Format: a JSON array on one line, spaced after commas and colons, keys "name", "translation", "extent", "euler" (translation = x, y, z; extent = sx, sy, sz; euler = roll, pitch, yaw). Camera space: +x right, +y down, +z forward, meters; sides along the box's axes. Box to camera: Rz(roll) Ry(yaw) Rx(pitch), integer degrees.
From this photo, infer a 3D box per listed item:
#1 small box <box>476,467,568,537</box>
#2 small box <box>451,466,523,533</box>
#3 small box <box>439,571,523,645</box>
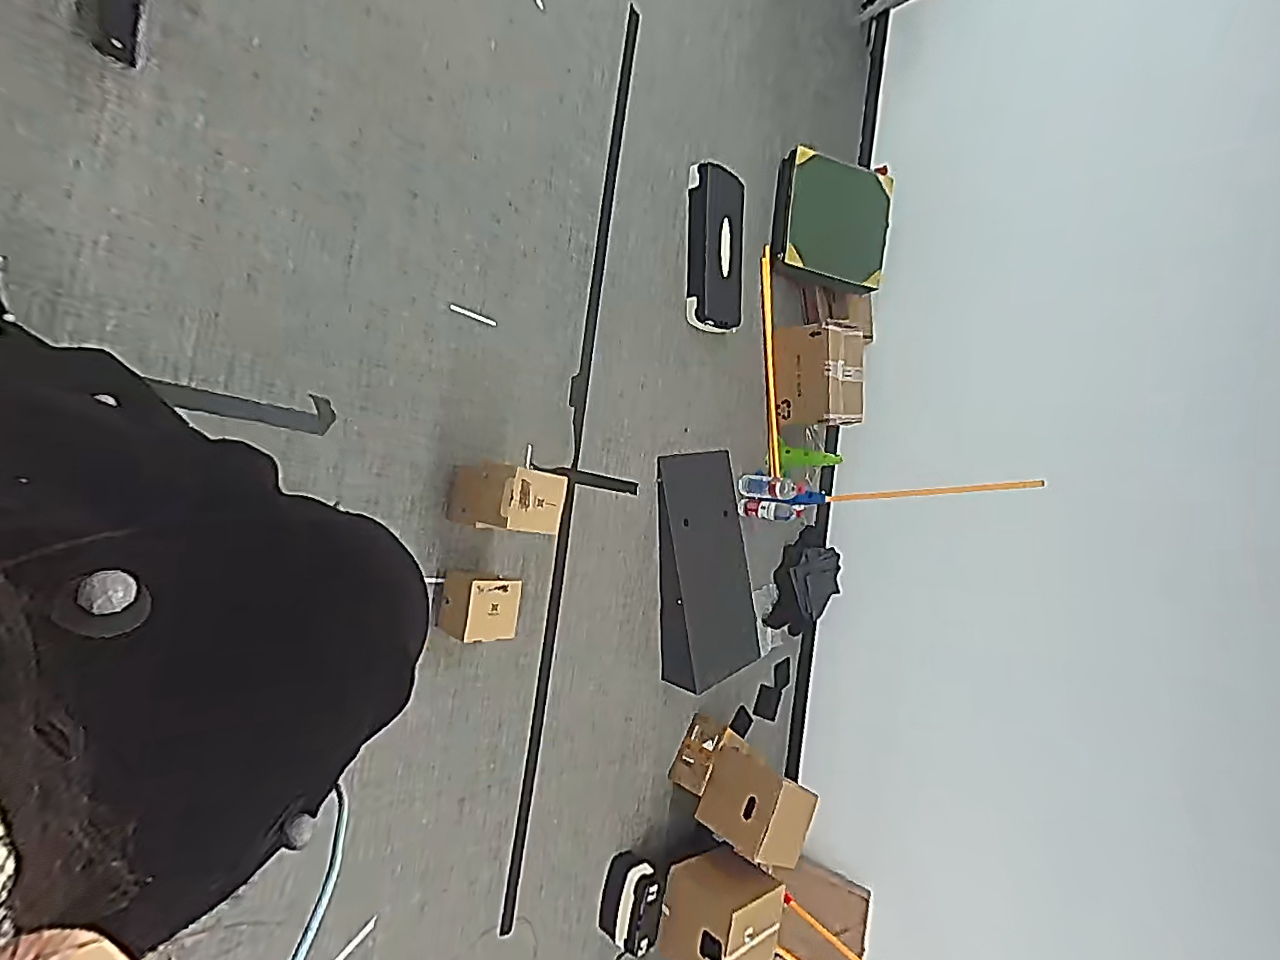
[{"name": "small box", "translation": [-0.329, 0.058, 1.491], "extent": [0.179, 0.176, 0.168], "euler": [14, 85, -47]}, {"name": "small box", "translation": [-0.445, 0.057, 1.607], "extent": [0.168, 0.176, 0.179], "euler": [10, 86, -46]}, {"name": "small box", "translation": [-0.476, 0.376, 1.604], "extent": [0.168, 0.176, 0.179], "euler": [11, 86, -46]}]
